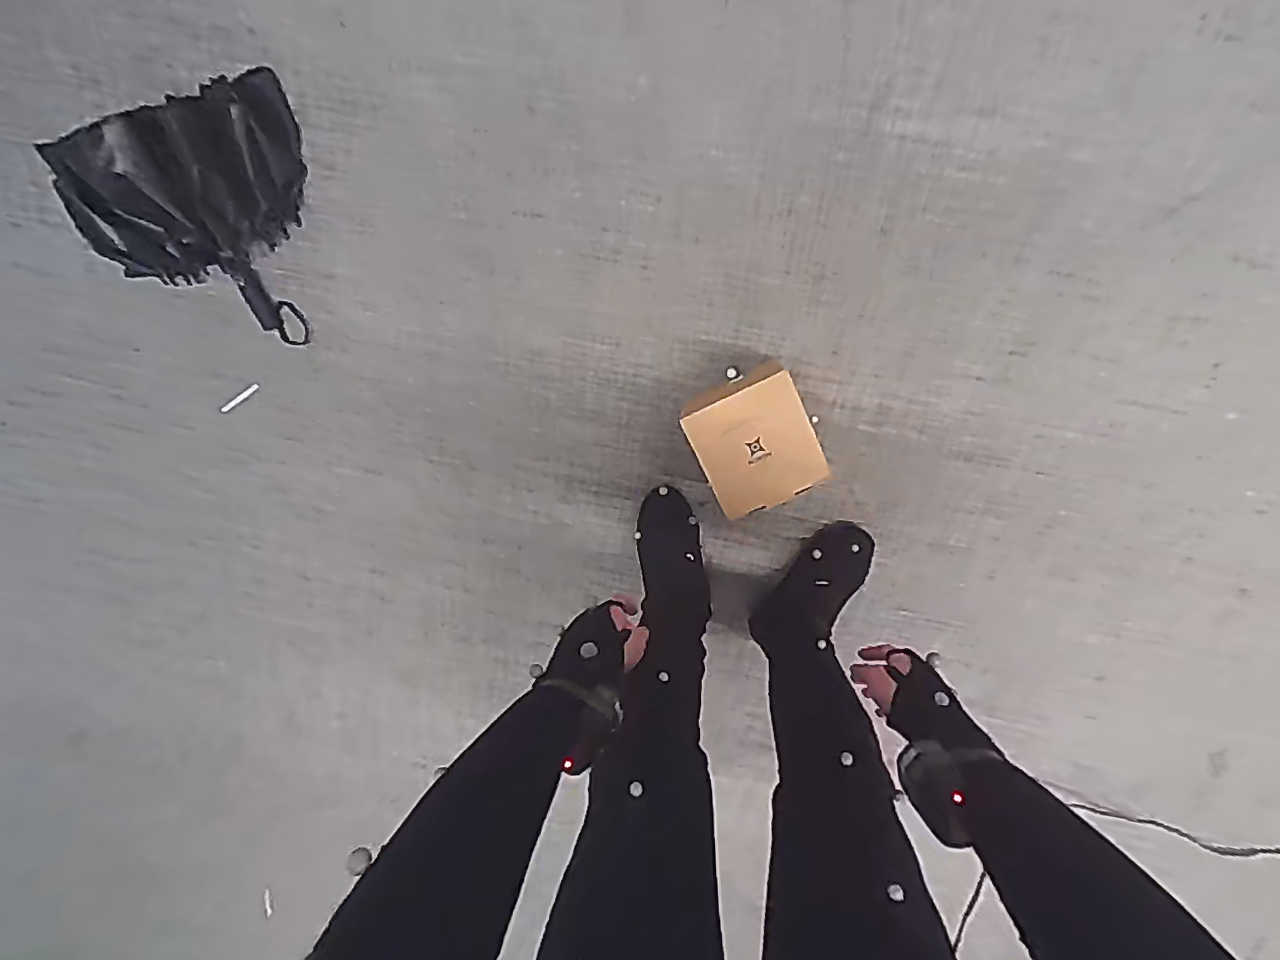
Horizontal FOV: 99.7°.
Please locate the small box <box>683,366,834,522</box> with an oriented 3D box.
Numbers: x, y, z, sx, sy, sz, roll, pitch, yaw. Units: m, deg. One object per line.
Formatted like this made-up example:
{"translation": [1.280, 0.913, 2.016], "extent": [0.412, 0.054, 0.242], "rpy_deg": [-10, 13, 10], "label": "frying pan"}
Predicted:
{"translation": [0.182, -0.064, 0.855], "extent": [0.168, 0.176, 0.179], "rpy_deg": [-25, 102, 13], "label": "small box"}
